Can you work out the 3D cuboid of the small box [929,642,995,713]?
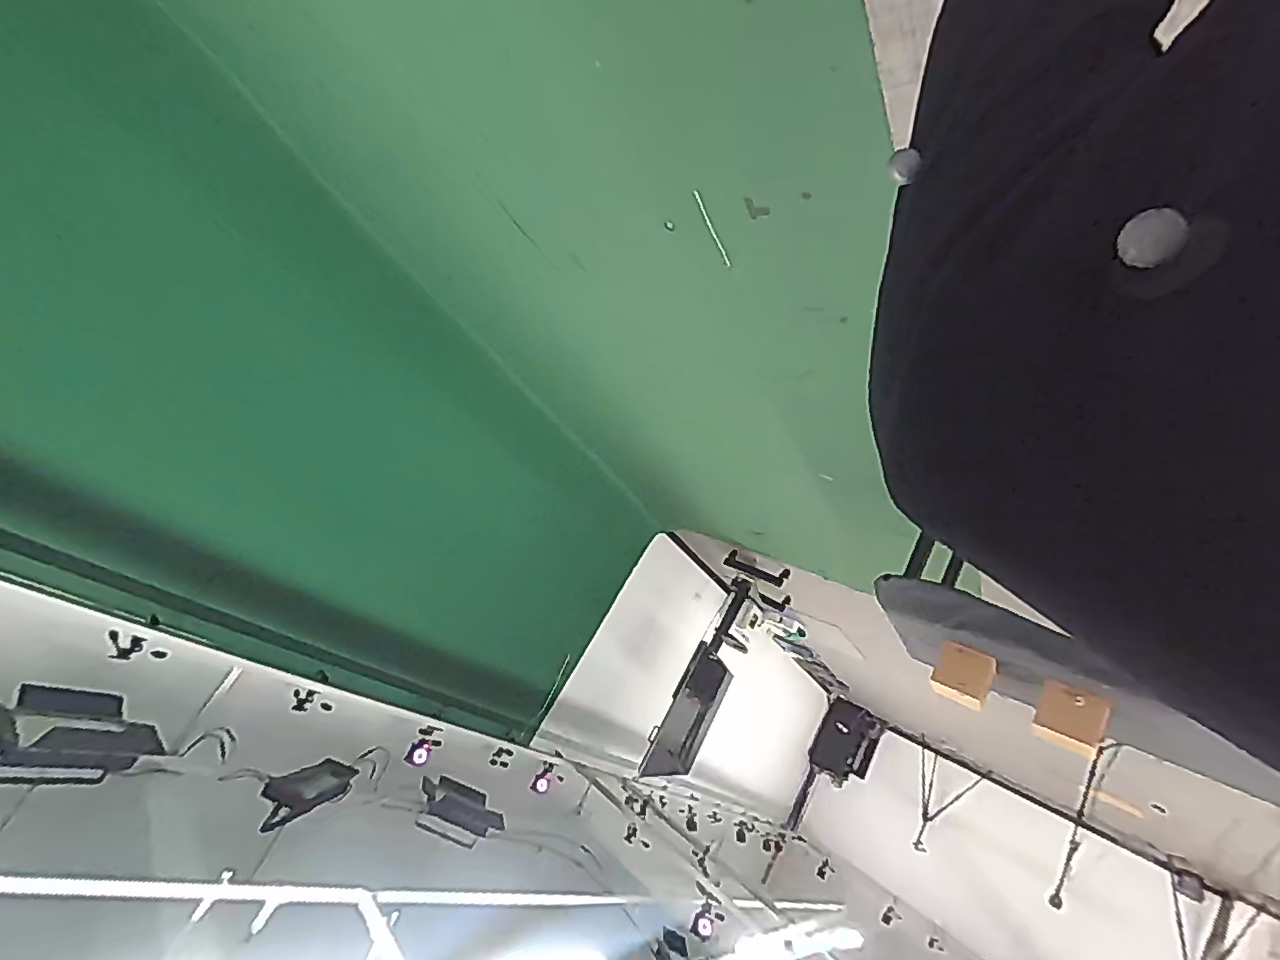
[{"bbox_3d":[1.190,0.724,1.990,0.168,0.176,0.179,16,159,41],"label":"small box"}]

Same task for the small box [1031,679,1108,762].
[{"bbox_3d":[1.411,0.786,1.773,0.168,0.176,0.179,13,155,46],"label":"small box"}]
